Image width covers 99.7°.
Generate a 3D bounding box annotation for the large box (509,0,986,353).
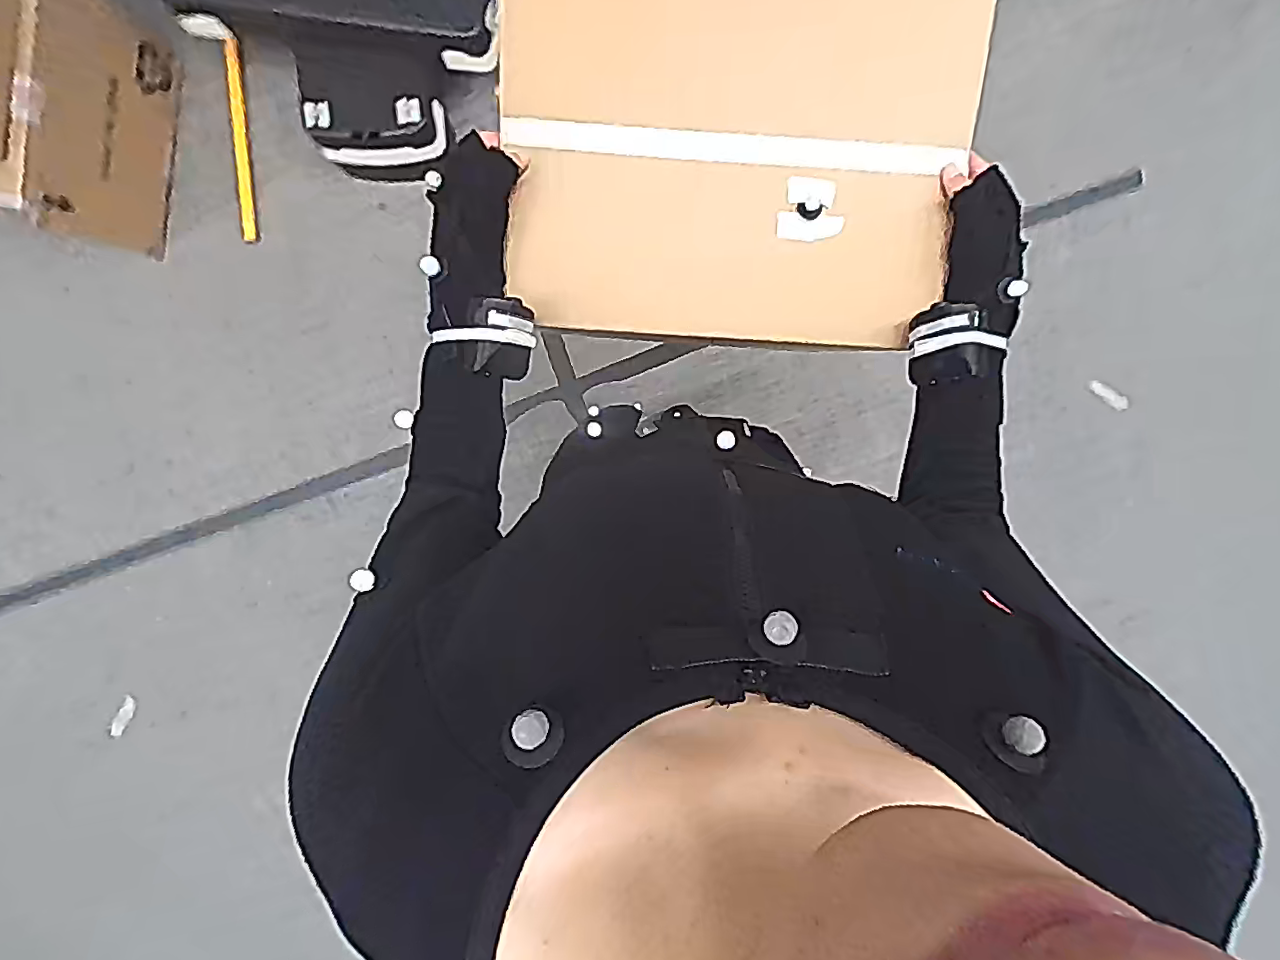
[{"bbox_3d":[0.079,-0.317,0.619,0.408,0.320,0.320,4,103,-3],"label":"large box"}]
